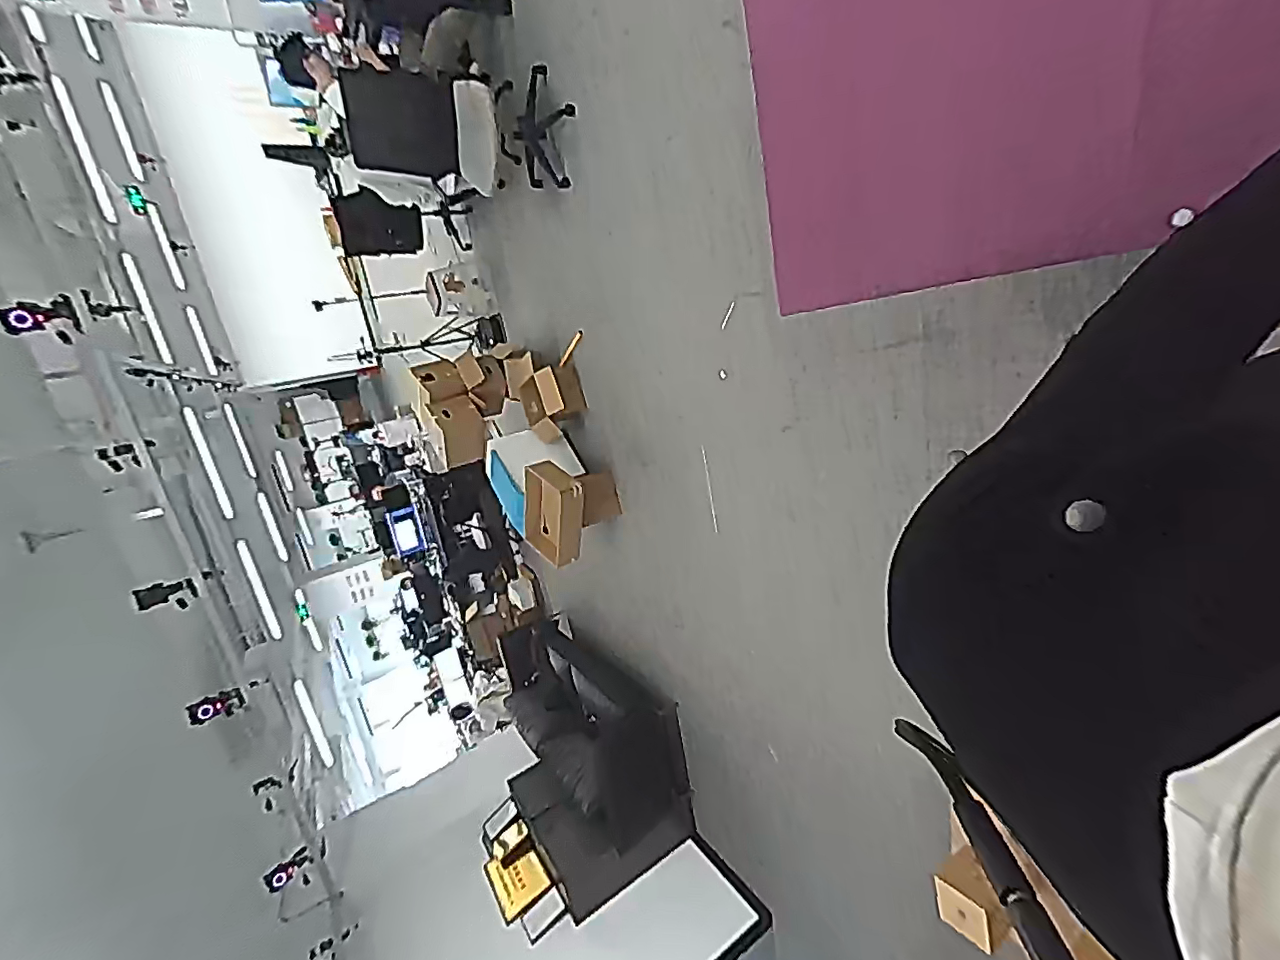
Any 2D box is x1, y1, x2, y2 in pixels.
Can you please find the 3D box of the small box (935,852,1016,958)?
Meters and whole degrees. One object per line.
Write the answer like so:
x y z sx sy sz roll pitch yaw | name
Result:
1.105 1.388 1.781 0.168 0.176 0.179 6 111 60 | small box

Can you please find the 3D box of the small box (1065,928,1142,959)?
1.436 1.545 1.651 0.168 0.176 0.179 3 109 60 | small box
